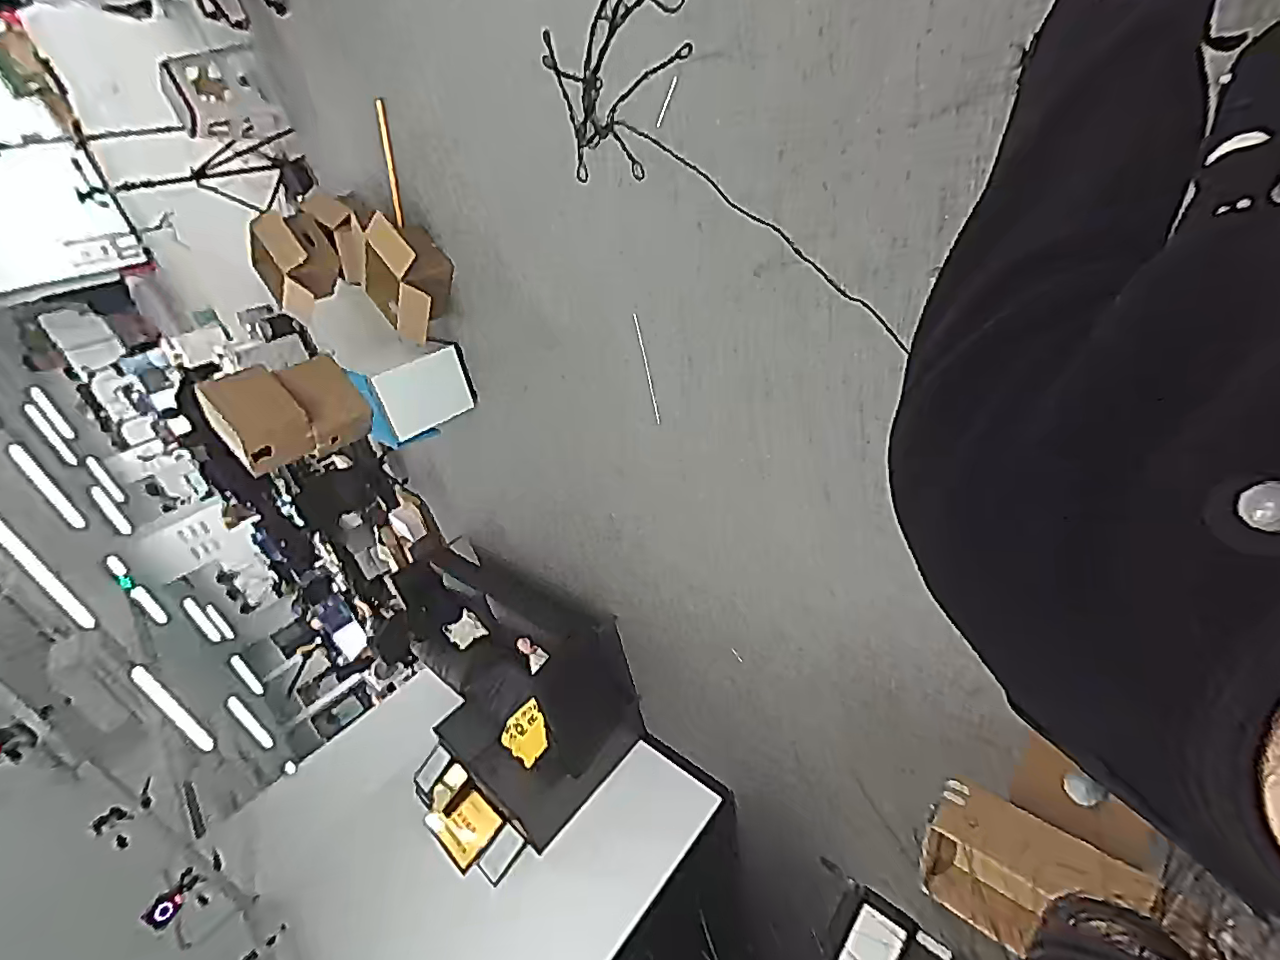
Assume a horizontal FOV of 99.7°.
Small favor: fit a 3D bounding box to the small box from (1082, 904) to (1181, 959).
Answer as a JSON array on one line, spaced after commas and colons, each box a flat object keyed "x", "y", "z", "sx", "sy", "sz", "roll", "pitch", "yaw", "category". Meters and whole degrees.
[{"x": 1.237, "y": 1.242, "z": 1.368, "sx": 0.168, "sy": 0.176, "sz": 0.179, "roll": 14, "pitch": 128, "yaw": 43, "category": "small box"}]
